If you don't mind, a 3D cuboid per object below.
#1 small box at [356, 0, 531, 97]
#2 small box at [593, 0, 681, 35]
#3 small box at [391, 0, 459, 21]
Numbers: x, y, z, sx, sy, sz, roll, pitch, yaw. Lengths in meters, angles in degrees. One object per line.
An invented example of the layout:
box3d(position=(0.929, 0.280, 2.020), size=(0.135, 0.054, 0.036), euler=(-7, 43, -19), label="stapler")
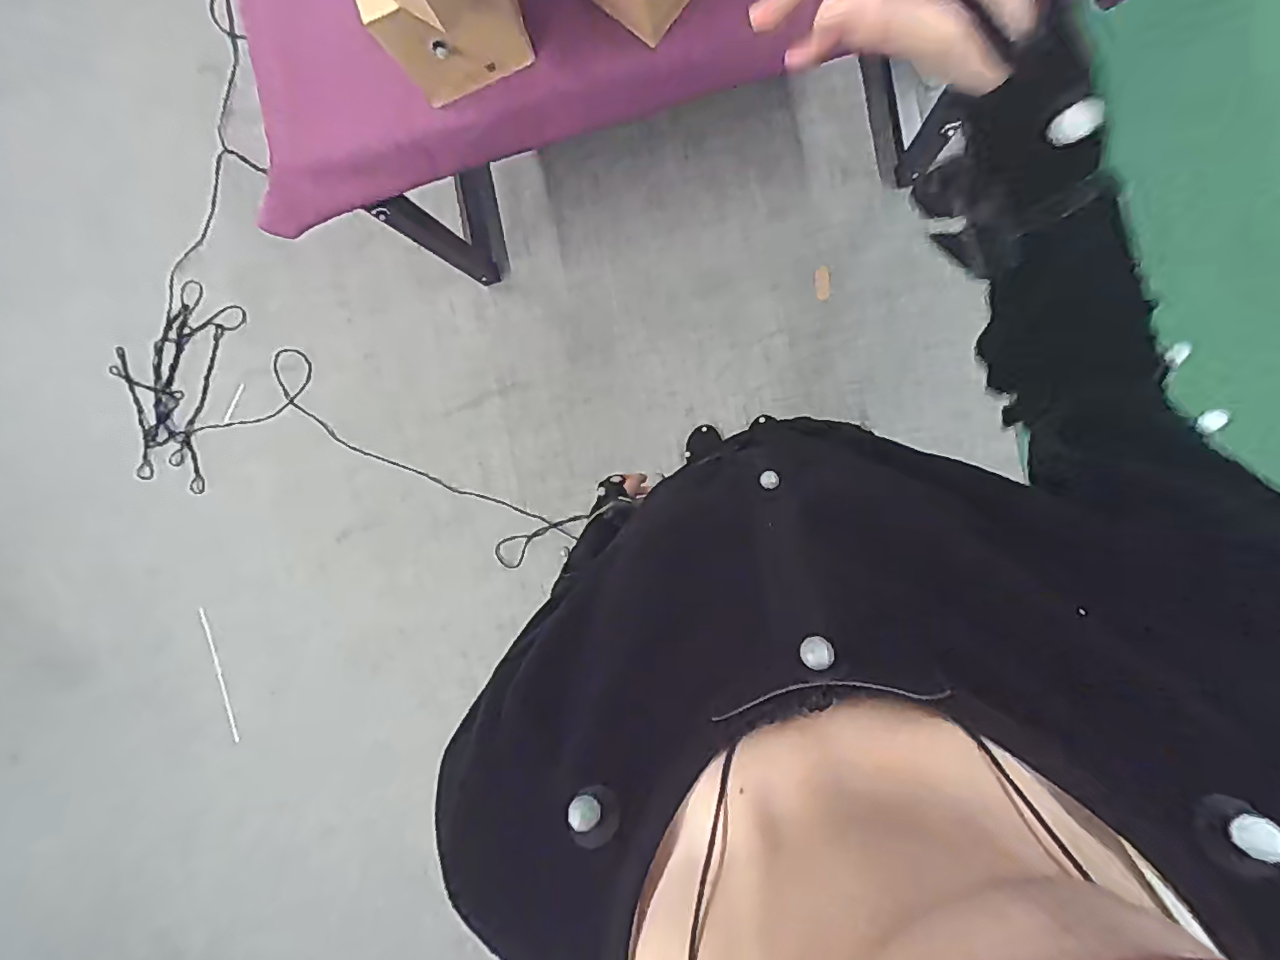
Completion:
box3d(position=(-0.262, -0.647, 0.703), size=(0.168, 0.176, 0.179), euler=(-18, 90, 10), label="small box")
box3d(position=(-0.008, -0.703, 0.657), size=(0.179, 0.176, 0.168), euler=(42, 98, 5), label="small box")
box3d(position=(-0.256, -0.620, 0.538), size=(0.179, 0.176, 0.168), euler=(34, 97, 5), label="small box")
